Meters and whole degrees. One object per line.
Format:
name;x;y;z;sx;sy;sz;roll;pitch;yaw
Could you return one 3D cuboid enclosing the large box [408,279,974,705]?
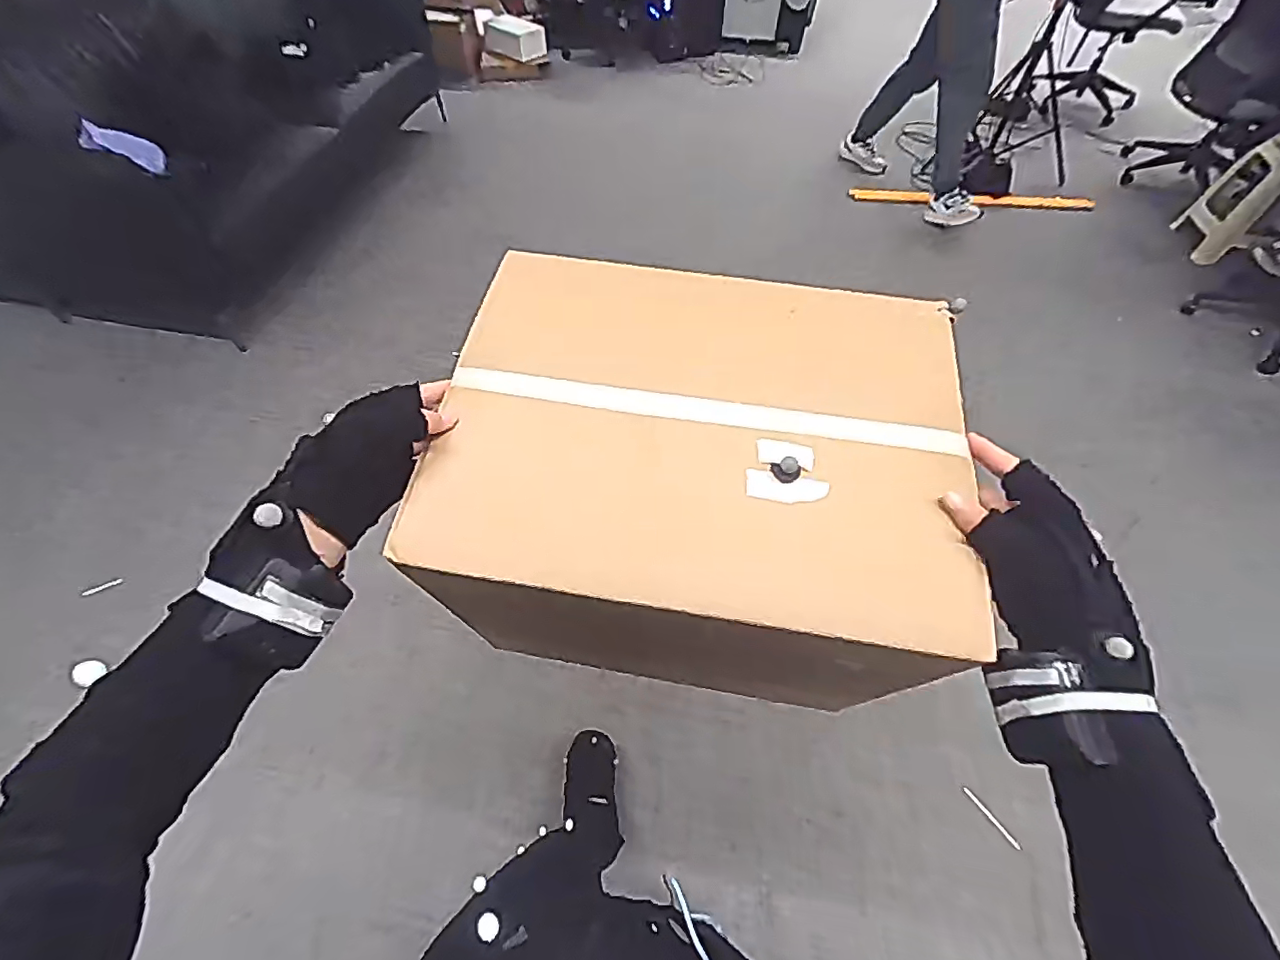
large box;0.048;0.030;0.573;0.408;0.320;0.320;8;62;5
